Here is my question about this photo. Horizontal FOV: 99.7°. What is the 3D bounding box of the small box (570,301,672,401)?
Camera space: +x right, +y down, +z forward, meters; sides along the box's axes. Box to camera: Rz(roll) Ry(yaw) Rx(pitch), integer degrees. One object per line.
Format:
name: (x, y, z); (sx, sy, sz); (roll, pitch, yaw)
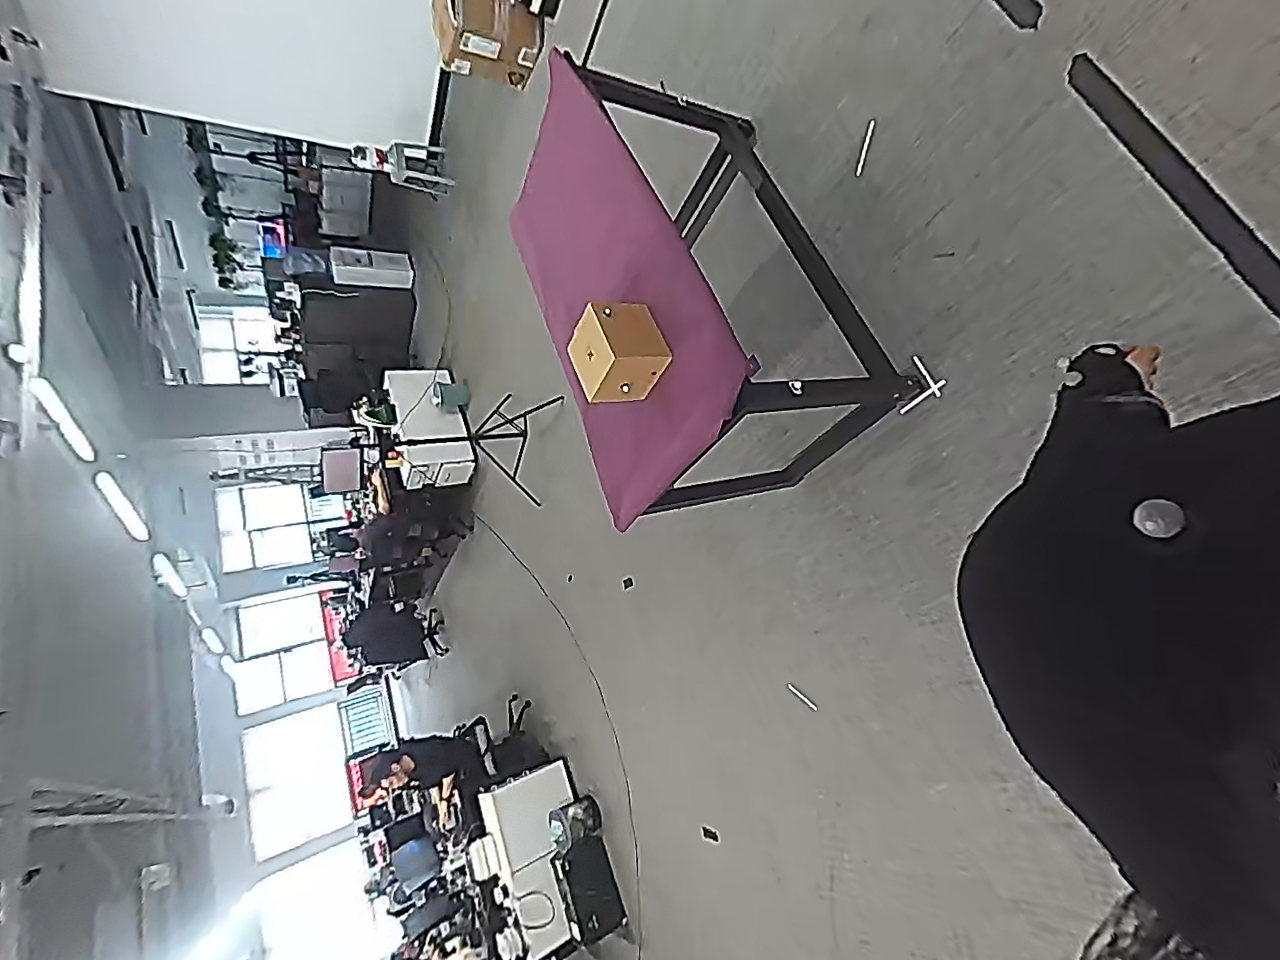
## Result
small box: (-0.047, -0.317, 1.329); (0.168, 0.176, 0.179); (-51, 55, 49)
